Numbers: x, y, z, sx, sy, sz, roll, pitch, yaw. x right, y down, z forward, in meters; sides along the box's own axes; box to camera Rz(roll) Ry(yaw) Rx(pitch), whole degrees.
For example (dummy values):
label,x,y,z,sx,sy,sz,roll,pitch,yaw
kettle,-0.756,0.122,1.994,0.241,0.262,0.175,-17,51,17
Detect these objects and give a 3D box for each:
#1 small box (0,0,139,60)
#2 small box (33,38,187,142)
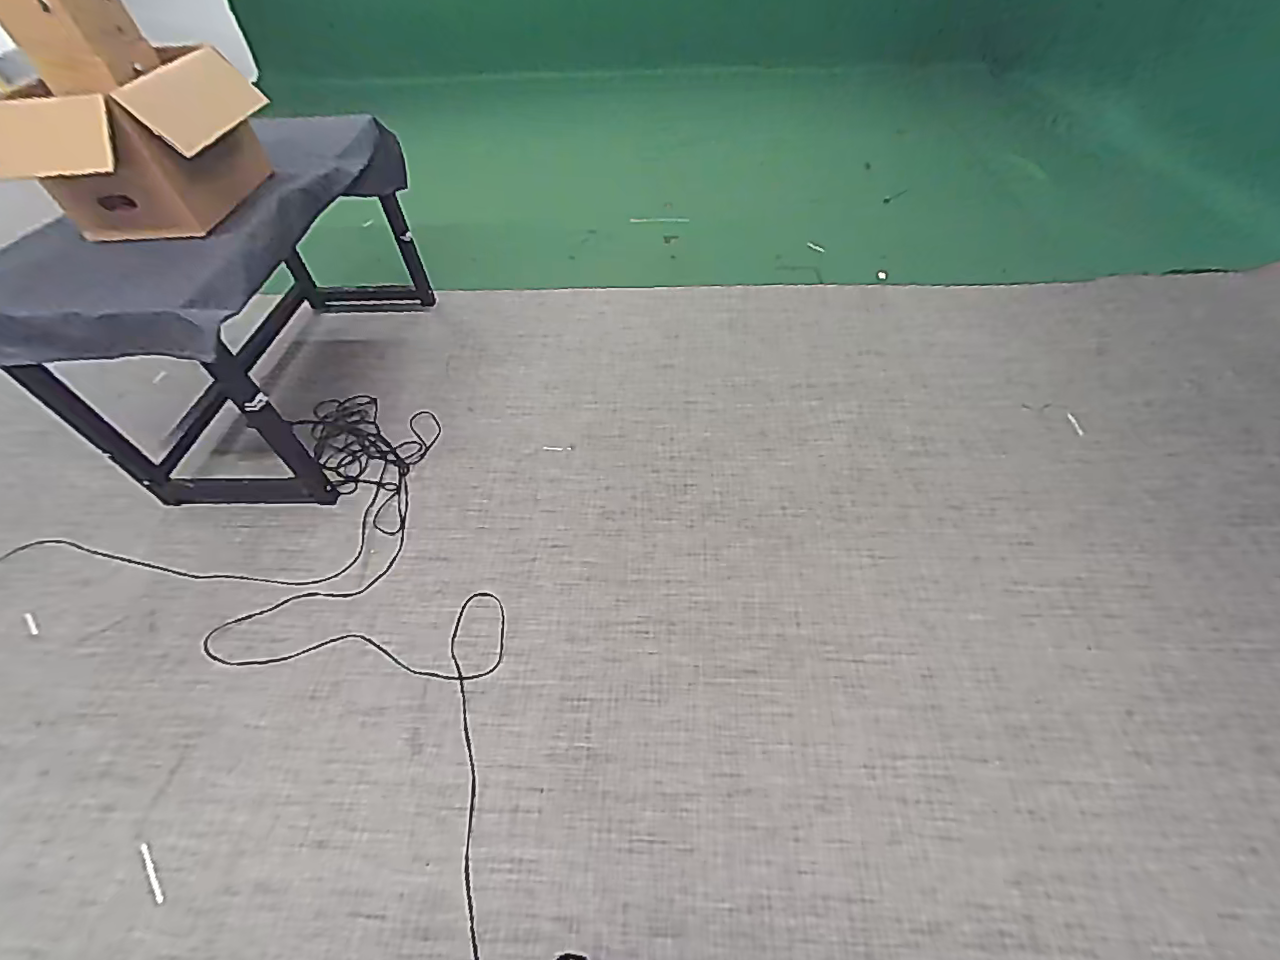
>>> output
label,x,y,z,sx,sy,sz,roll,pitch,yaw
small box,-1.270,-1.039,1.177,0.179,0.176,0.168,-1,50,5
small box,-1.254,-0.936,1.302,0.168,0.176,0.179,-1,51,3
